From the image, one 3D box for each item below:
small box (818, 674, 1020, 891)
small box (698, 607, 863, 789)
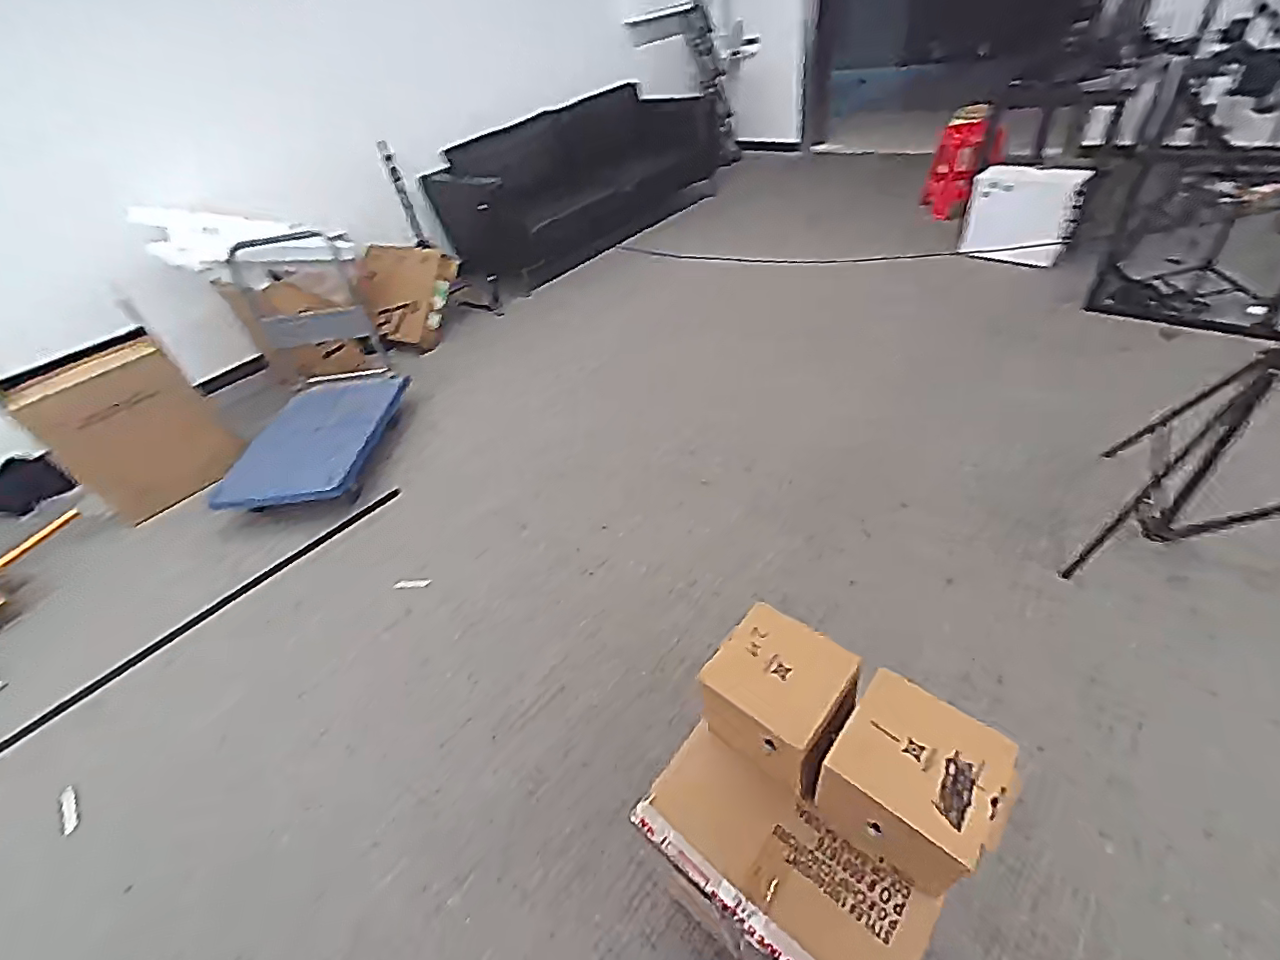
[{"bbox_3d":[0.358,0.403,0.720,0.179,0.176,0.168,27,55,35],"label":"small box"},{"bbox_3d":[0.216,0.337,0.828,0.179,0.176,0.168,26,54,38],"label":"small box"}]
